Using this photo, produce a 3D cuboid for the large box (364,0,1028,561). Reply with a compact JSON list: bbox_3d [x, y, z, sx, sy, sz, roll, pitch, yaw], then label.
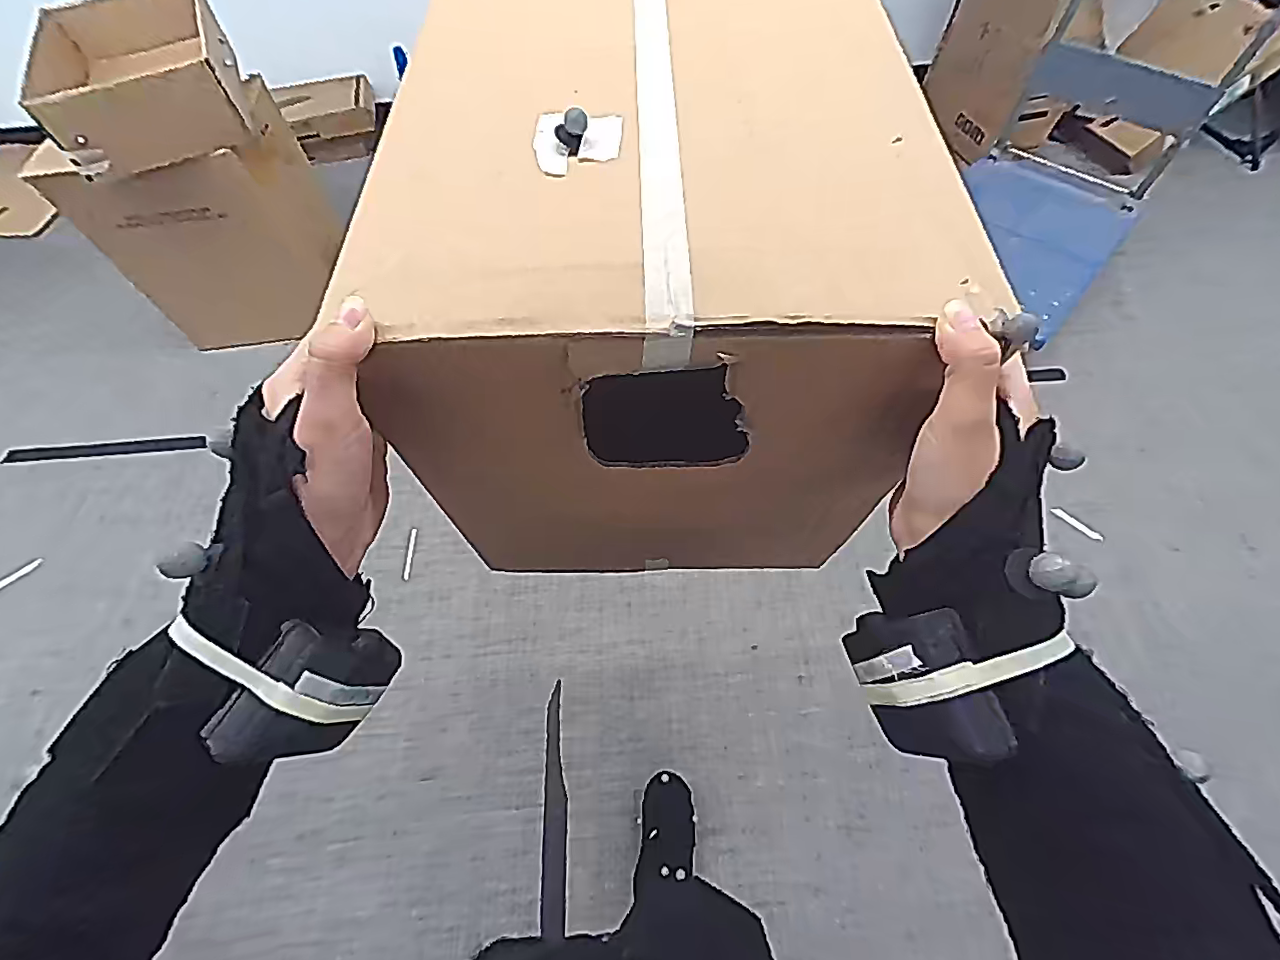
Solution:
[{"bbox_3d":[0.018,-0.171,0.466,0.320,0.320,0.408,-2,63,1],"label":"large box"}]
